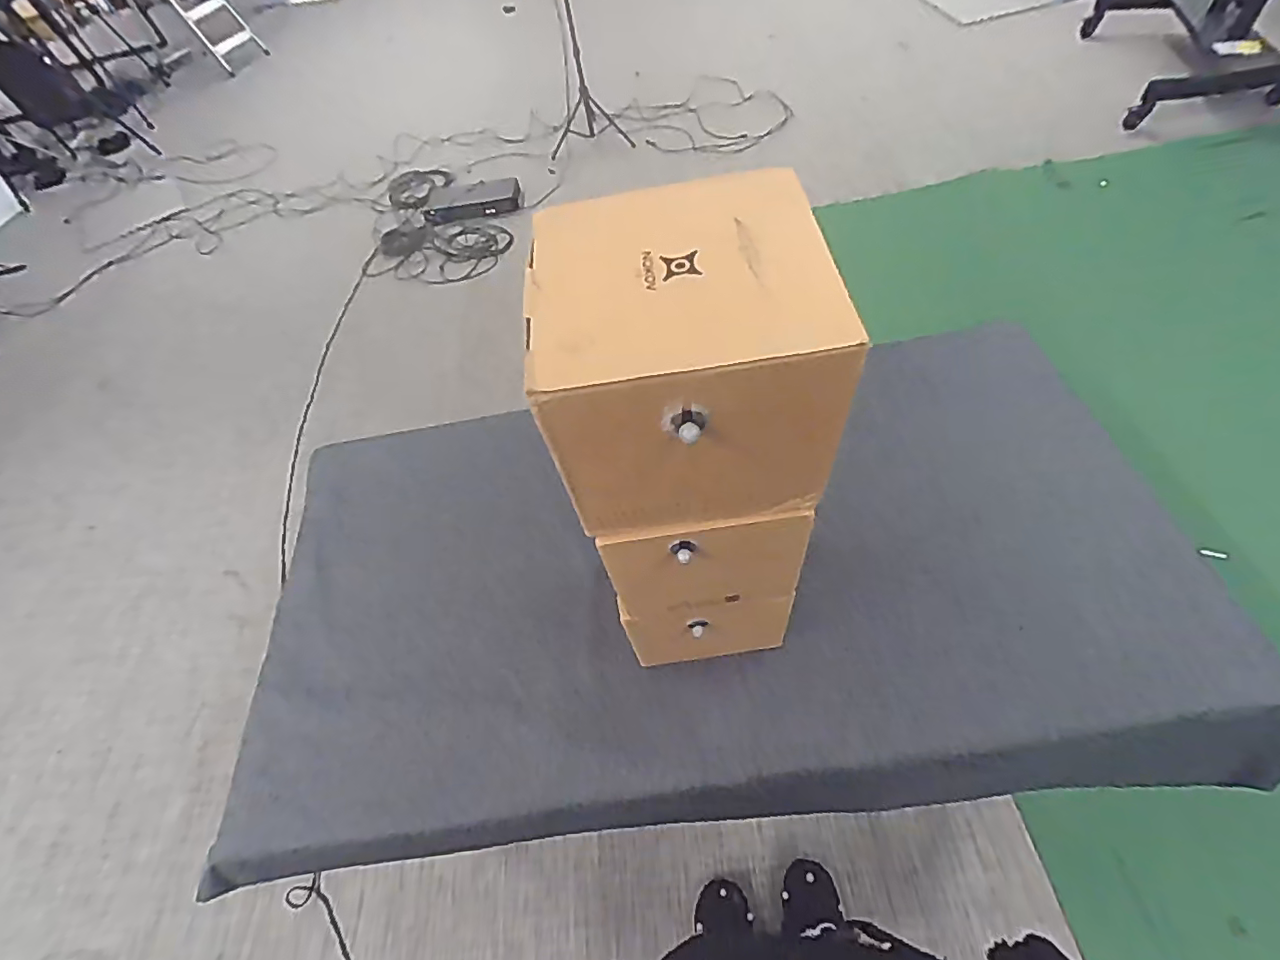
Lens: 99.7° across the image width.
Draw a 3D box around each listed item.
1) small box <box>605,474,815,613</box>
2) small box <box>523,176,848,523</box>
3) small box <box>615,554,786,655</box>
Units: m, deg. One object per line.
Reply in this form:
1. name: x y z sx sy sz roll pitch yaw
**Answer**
1. small box: 0.052 0.009 0.527 0.168 0.176 0.179 -10 56 1
2. small box: 0.027 -0.082 0.391 0.179 0.176 0.168 -8 58 3
3. small box: 0.068 0.102 0.657 0.179 0.176 0.168 -9 56 3
